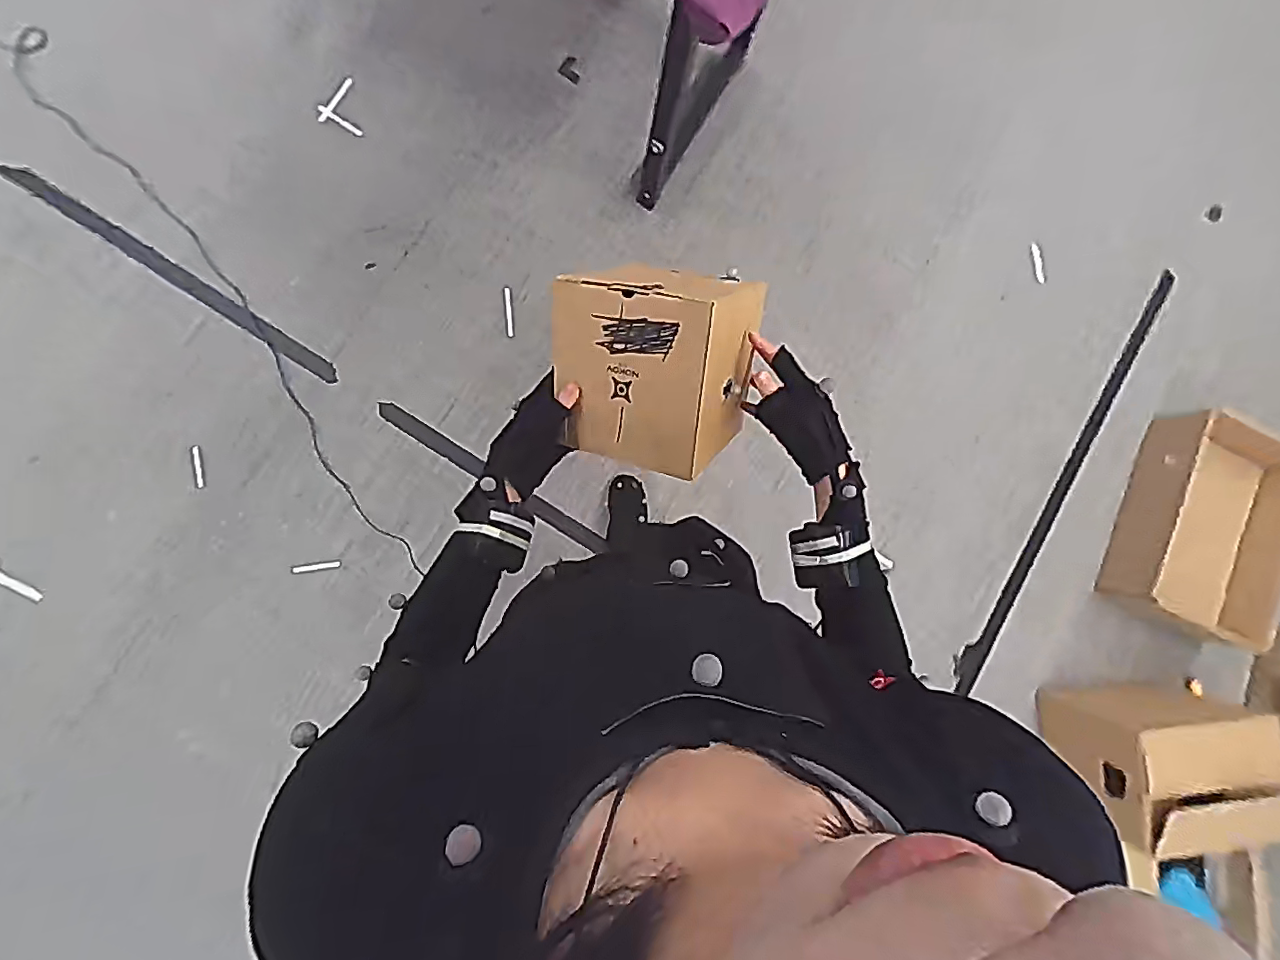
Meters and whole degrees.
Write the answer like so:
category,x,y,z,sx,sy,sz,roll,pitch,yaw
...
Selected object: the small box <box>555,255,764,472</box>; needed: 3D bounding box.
category,x,y,z,sx,sy,sz,roll,pitch,yaw
small box,0.025,-0.136,0.577,0.168,0.176,0.179,17,121,22
